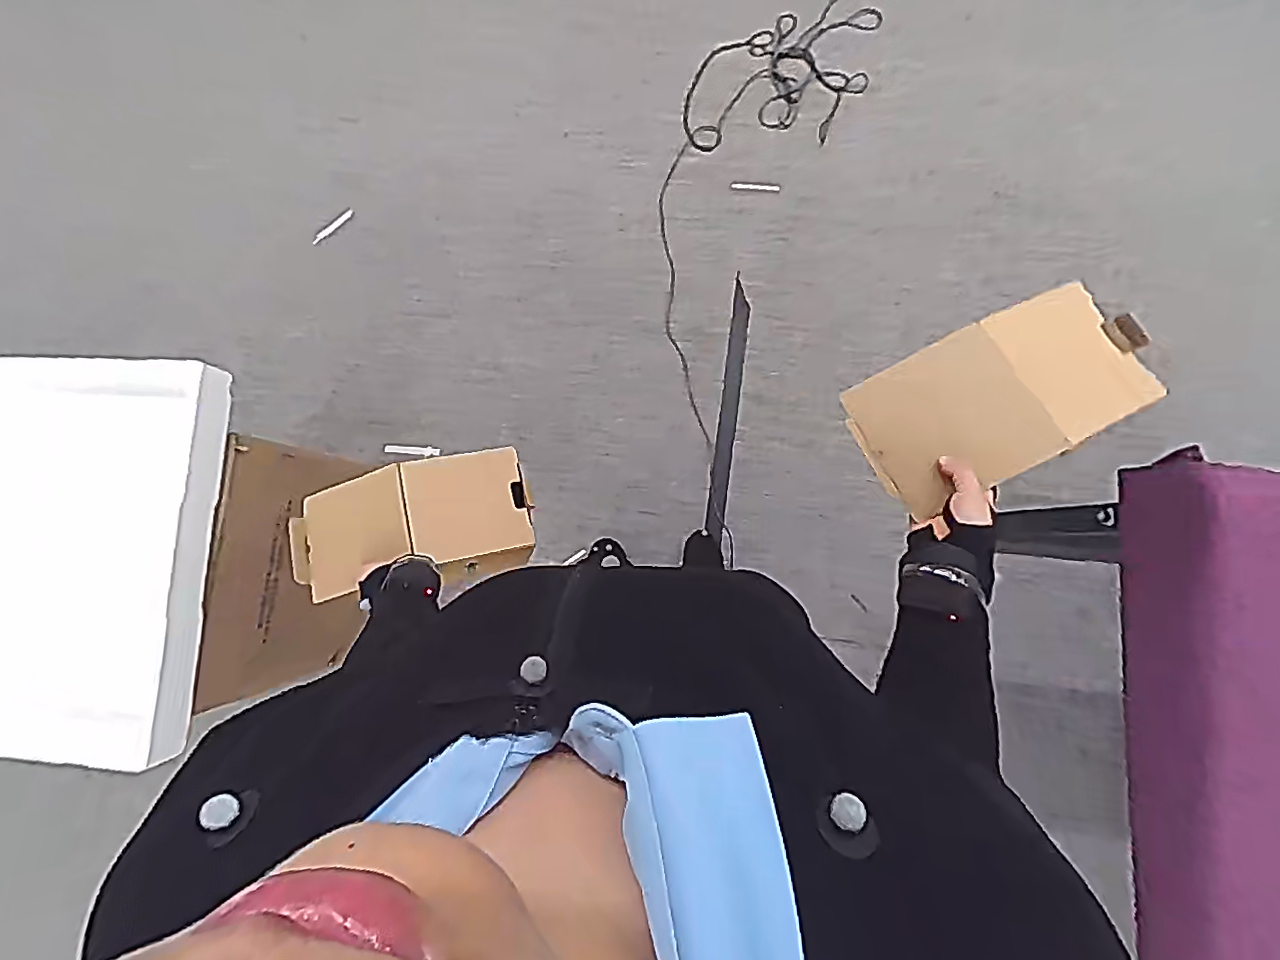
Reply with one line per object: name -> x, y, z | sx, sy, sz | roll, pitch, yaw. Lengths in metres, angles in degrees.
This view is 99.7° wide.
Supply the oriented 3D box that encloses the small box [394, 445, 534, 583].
small box -> -0.278, 0.060, 0.865 | 0.179, 0.176, 0.168 | -11, 76, -20
